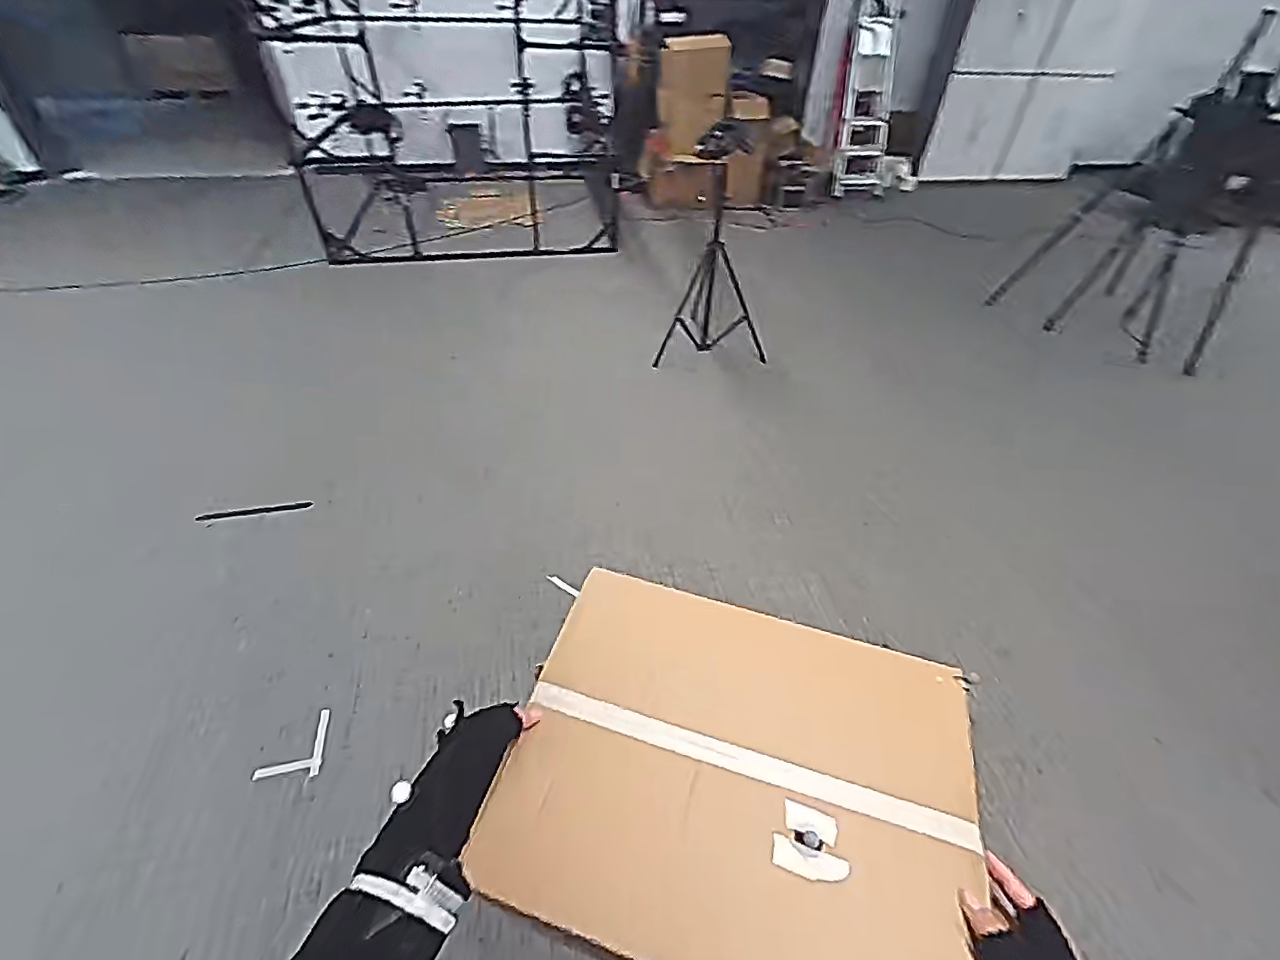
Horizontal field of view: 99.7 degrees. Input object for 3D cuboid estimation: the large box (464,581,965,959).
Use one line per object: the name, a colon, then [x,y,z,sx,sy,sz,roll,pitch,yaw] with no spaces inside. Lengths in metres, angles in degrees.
large box: [0.079,0.367,0.614,0.408,0.320,0.320,13,48,11]
